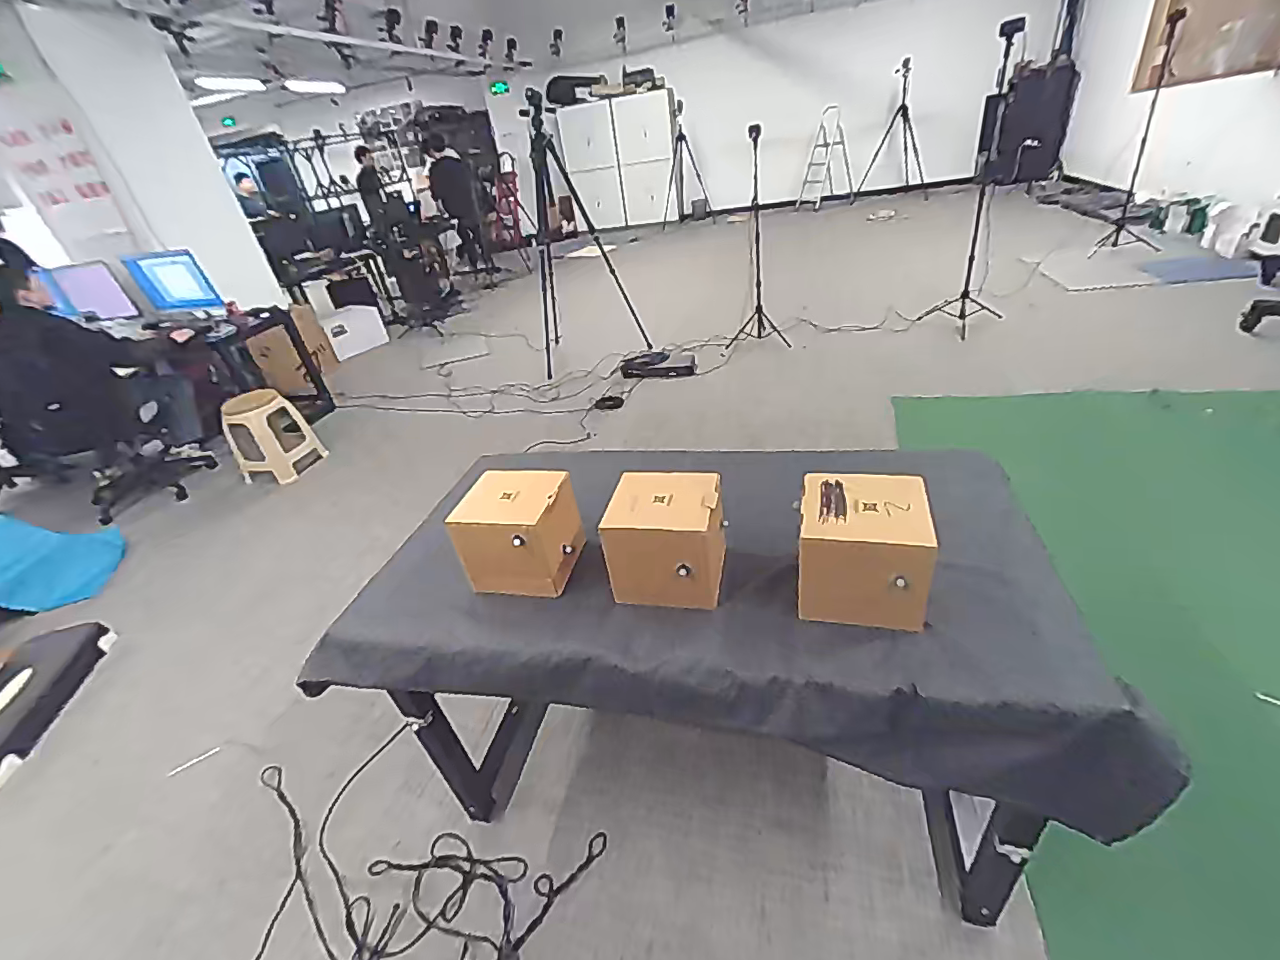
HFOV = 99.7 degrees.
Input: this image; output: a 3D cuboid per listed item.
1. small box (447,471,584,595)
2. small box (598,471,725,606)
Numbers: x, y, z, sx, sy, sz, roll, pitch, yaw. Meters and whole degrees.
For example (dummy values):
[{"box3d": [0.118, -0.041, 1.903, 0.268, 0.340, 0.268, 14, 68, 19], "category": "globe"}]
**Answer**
[{"box3d": [-0.221, 0.097, 1.010, 0.179, 0.176, 0.168, 0, 33, 15], "category": "small box"}, {"box3d": [0.048, 0.100, 0.929, 0.179, 0.176, 0.168, -1, 32, 16], "category": "small box"}]
